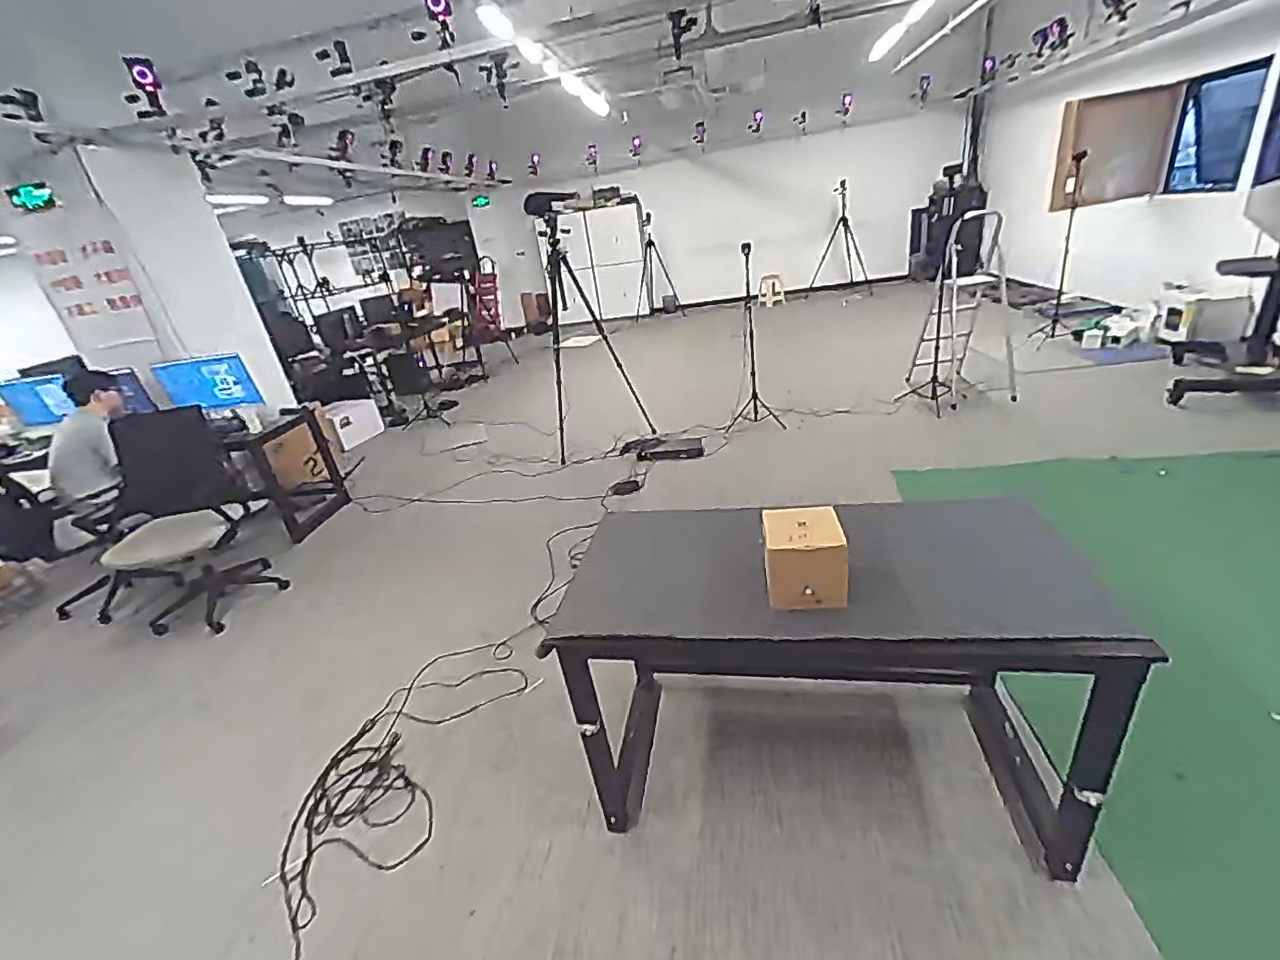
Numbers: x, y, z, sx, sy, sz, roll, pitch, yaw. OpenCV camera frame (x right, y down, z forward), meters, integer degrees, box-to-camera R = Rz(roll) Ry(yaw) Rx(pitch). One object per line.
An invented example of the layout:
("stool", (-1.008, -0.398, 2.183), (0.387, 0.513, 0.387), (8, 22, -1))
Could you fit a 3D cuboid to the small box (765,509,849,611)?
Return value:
("small box", (0.379, 0.184, 1.248), (0.168, 0.176, 0.179), (-5, 24, 10))
